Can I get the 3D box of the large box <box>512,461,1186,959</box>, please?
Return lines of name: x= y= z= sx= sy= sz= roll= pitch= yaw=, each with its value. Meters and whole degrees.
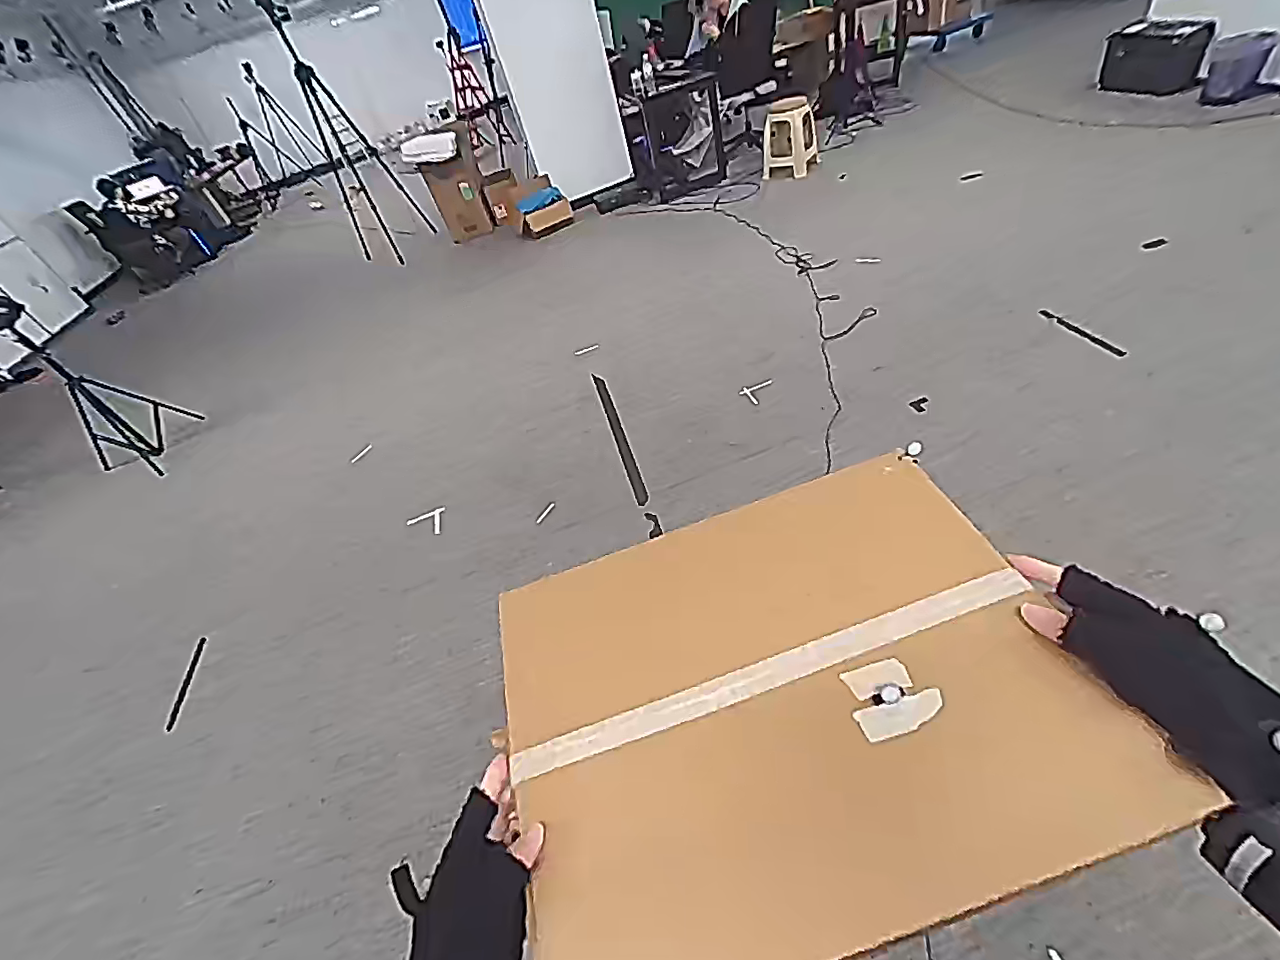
large box: x=0.134 y=0.248 z=0.523 sx=0.408 sy=0.320 sz=0.320 roll=-20 pitch=47 yaw=-2
